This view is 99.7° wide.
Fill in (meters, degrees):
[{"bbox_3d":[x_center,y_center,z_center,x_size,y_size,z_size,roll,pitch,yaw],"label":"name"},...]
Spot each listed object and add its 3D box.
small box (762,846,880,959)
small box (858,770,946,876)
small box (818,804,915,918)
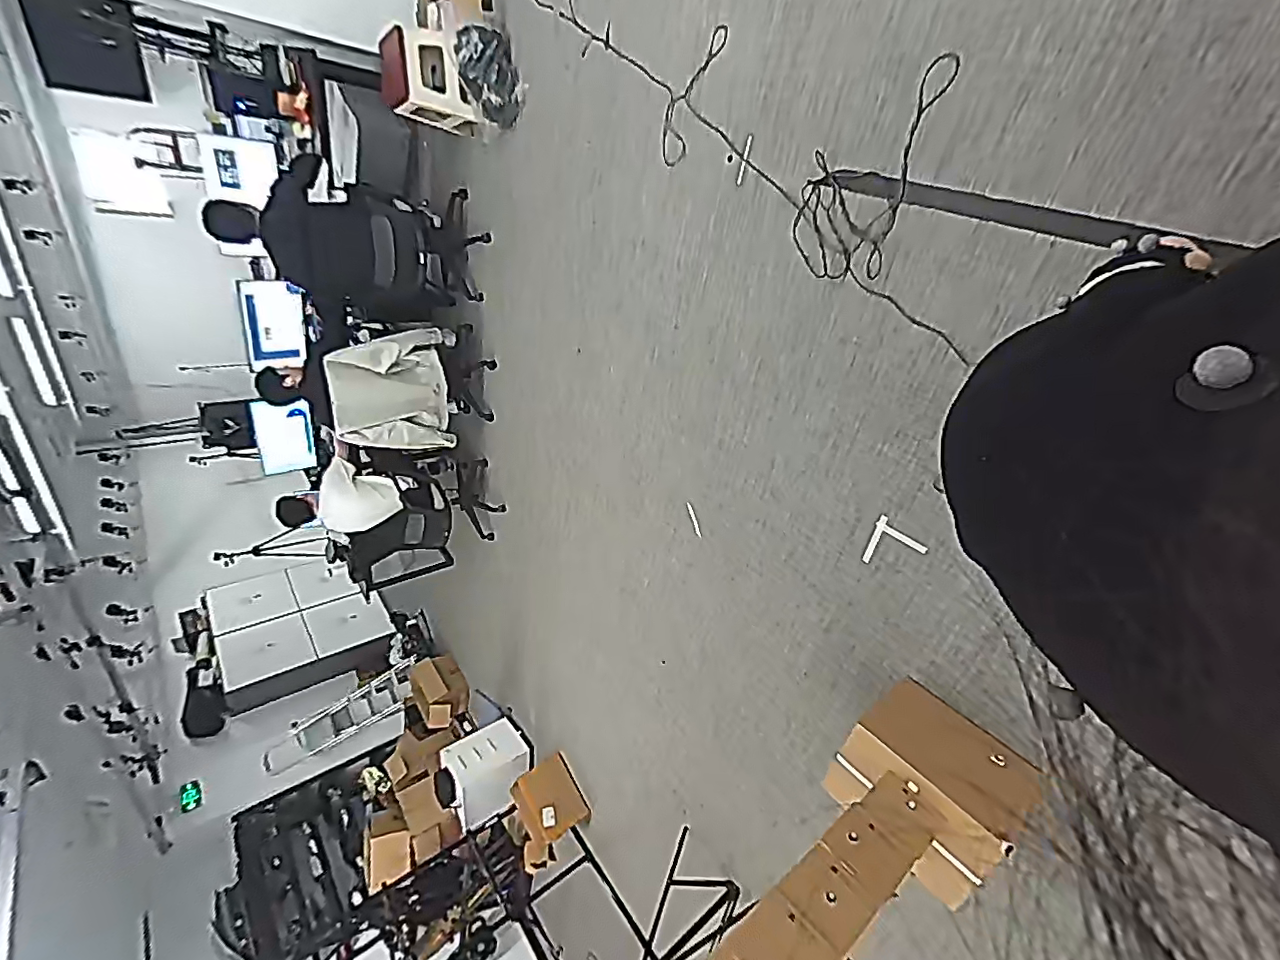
[{"bbox_3d":[0.397,0.961,1.185,0.168,0.176,0.179,31,124,44],"label":"small box"},{"bbox_3d":[0.648,0.896,1.385,0.168,0.176,0.179,36,127,39],"label":"small box"},{"bbox_3d":[0.522,0.922,1.286,0.168,0.176,0.179,35,128,41],"label":"small box"}]
